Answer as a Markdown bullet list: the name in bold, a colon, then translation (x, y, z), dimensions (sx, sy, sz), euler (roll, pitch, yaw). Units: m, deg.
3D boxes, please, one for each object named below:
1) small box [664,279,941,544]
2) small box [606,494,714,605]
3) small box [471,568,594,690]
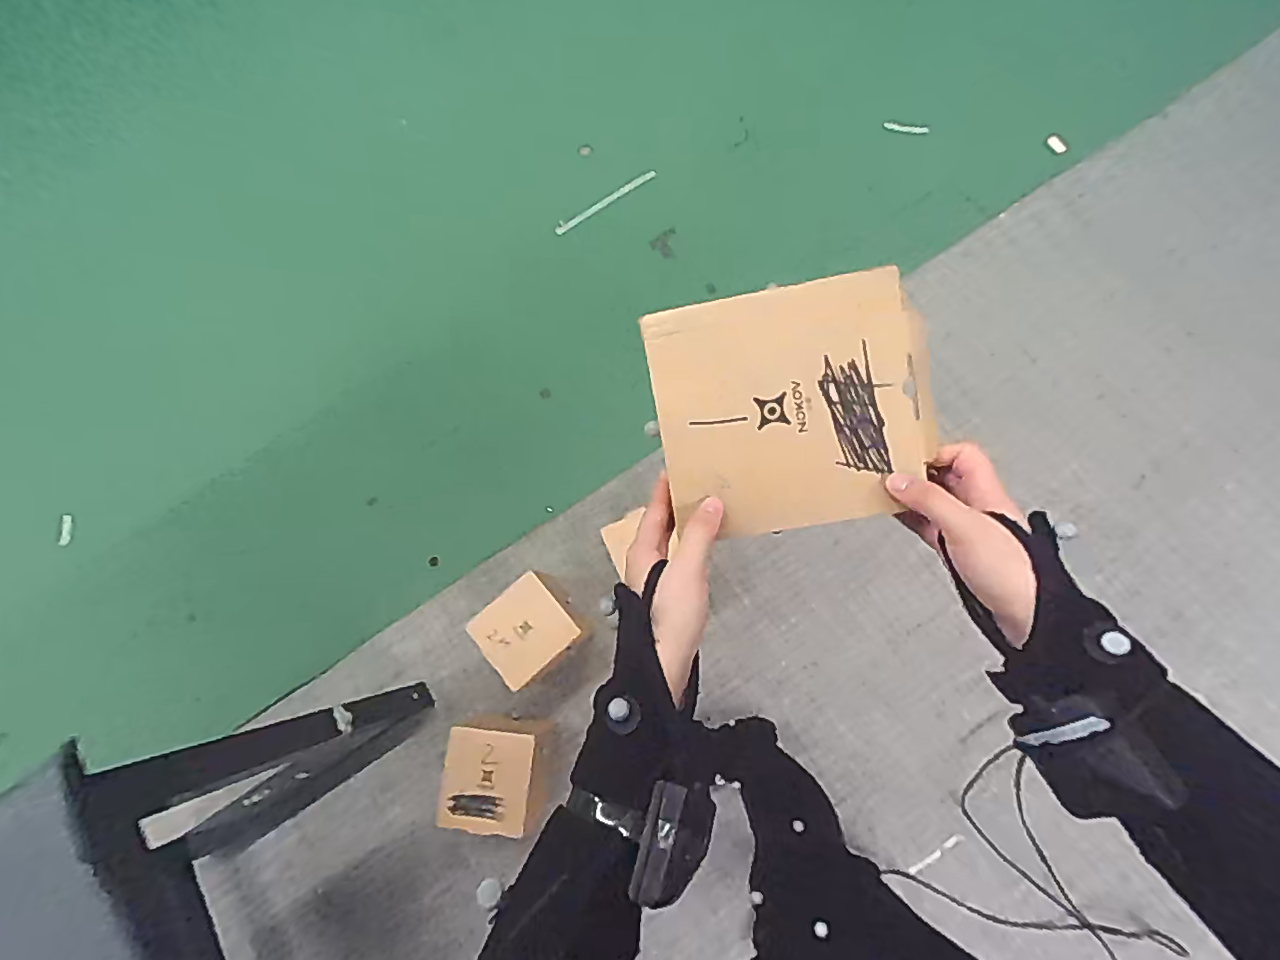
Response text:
- **small box**: translation (0.118, -0.052, 0.455), dimensions (0.179, 0.176, 0.168), euler (-9, 93, 6)
- **small box**: translation (0.042, 0.155, 1.149), dimensions (0.168, 0.176, 0.179), euler (-24, 76, -2)
- **small box**: translation (-0.213, 0.306, 1.134), dimensions (0.179, 0.176, 0.168), euler (-41, 76, -5)
